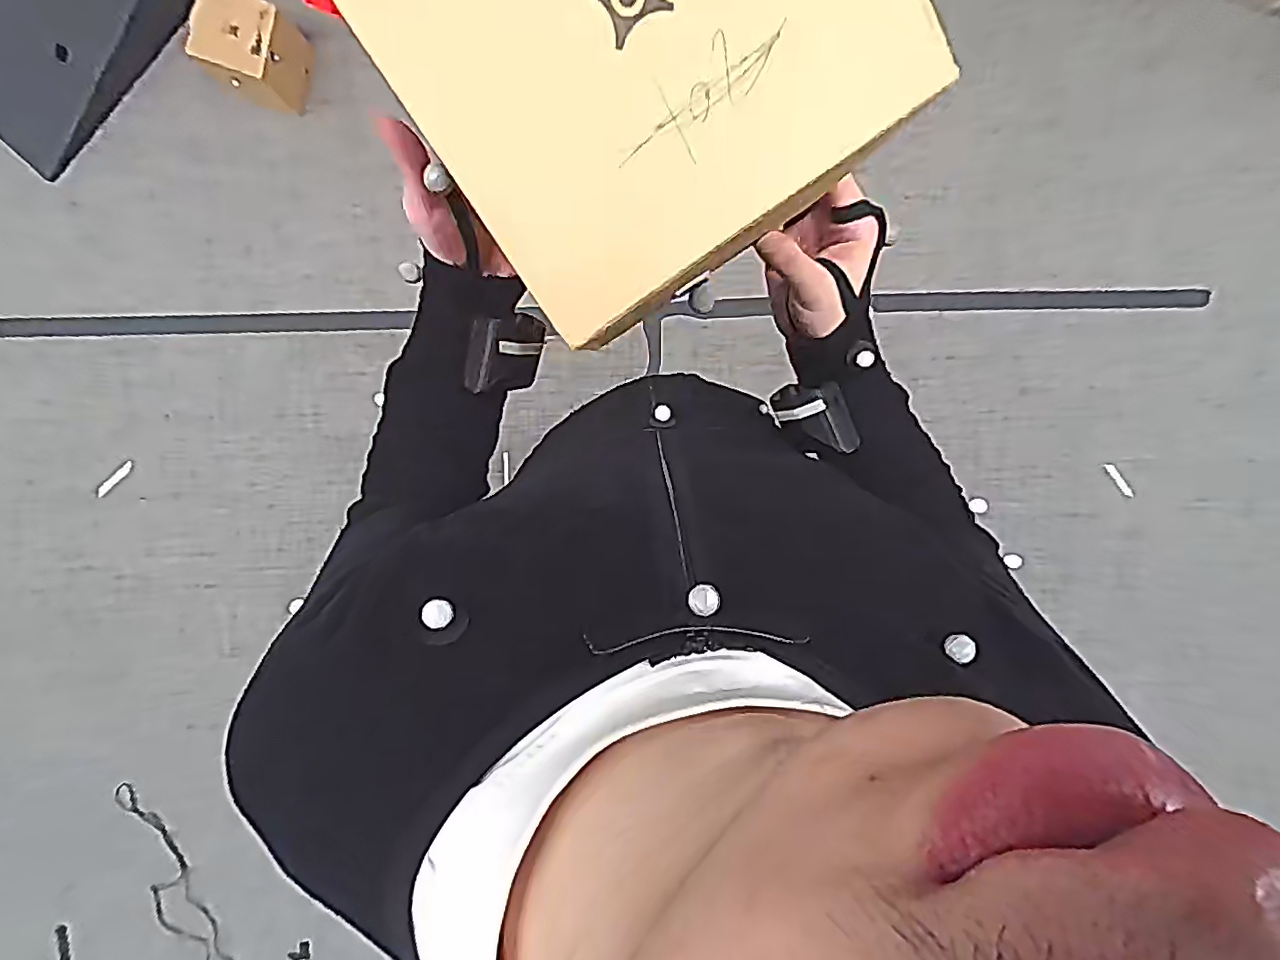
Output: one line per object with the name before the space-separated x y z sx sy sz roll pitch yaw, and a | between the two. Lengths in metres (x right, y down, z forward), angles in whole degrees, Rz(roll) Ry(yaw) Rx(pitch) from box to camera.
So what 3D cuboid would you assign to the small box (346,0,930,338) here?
small box | -0.008 -0.186 0.268 0.168 0.176 0.179 -33 101 8
